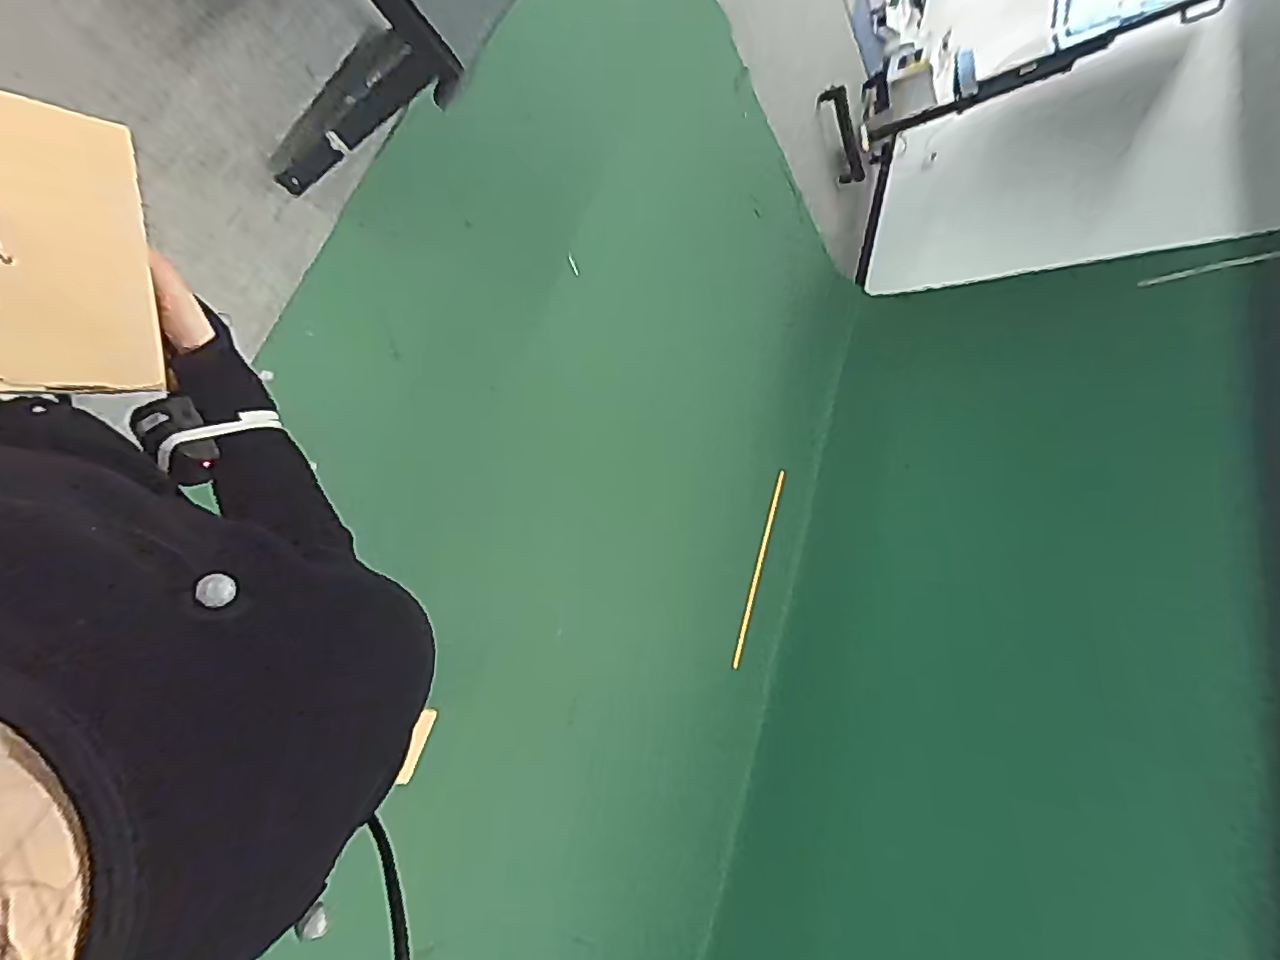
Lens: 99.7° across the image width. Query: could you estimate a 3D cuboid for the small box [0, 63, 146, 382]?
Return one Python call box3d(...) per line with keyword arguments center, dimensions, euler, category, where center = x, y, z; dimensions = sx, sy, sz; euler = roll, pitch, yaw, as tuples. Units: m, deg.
box3d(center=(-0.452, -0.155, 0.341), dimensions=(0.168, 0.176, 0.179), euler=(-11, 104, -53), category="small box")
